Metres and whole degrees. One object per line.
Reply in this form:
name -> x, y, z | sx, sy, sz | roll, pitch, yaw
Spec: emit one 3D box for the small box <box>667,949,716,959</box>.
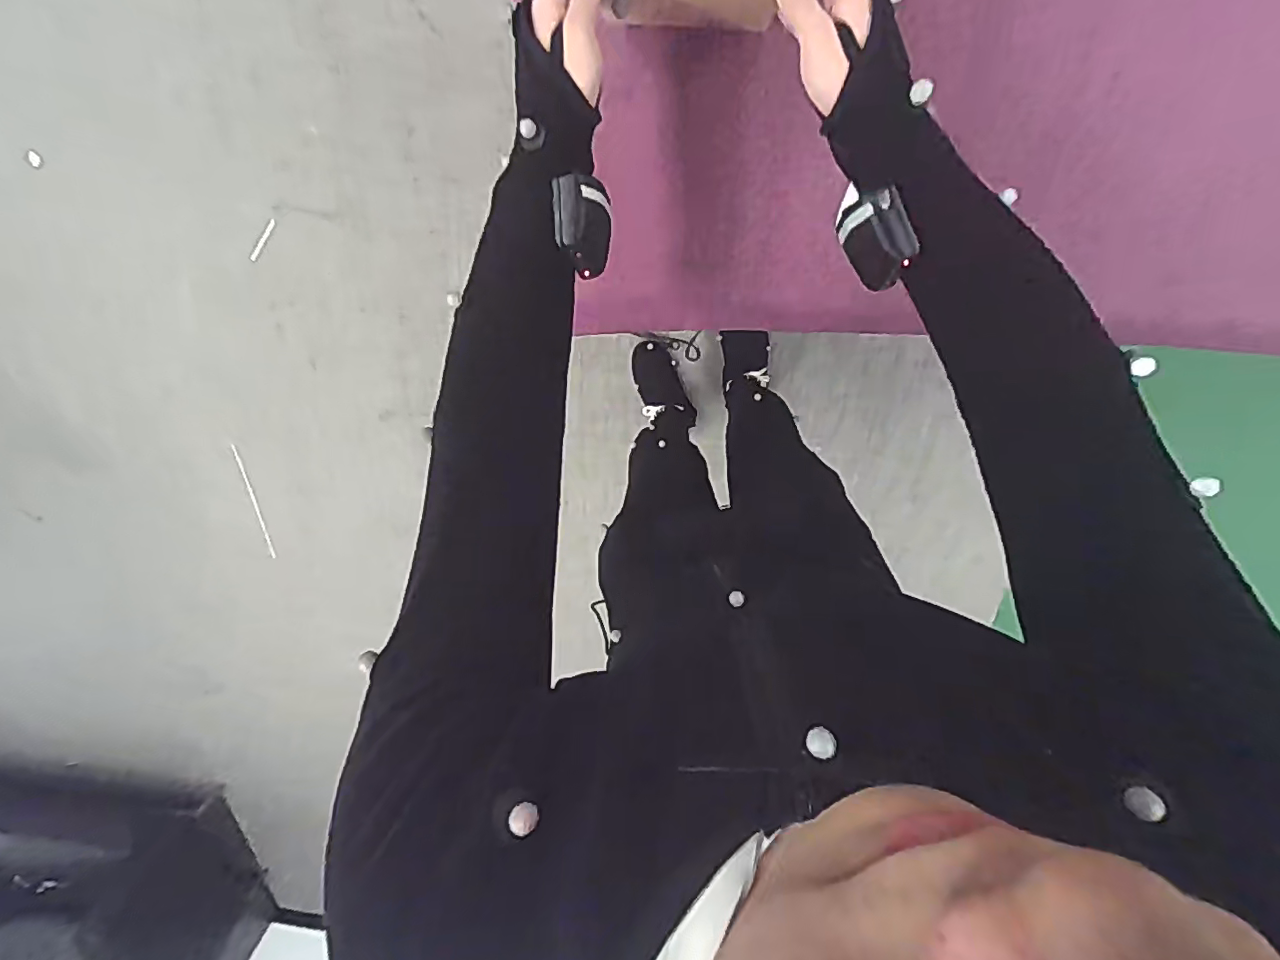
small box -> 0.157, 1.649, 1.722 | 0.168, 0.176, 0.179 | 12, 117, 1
